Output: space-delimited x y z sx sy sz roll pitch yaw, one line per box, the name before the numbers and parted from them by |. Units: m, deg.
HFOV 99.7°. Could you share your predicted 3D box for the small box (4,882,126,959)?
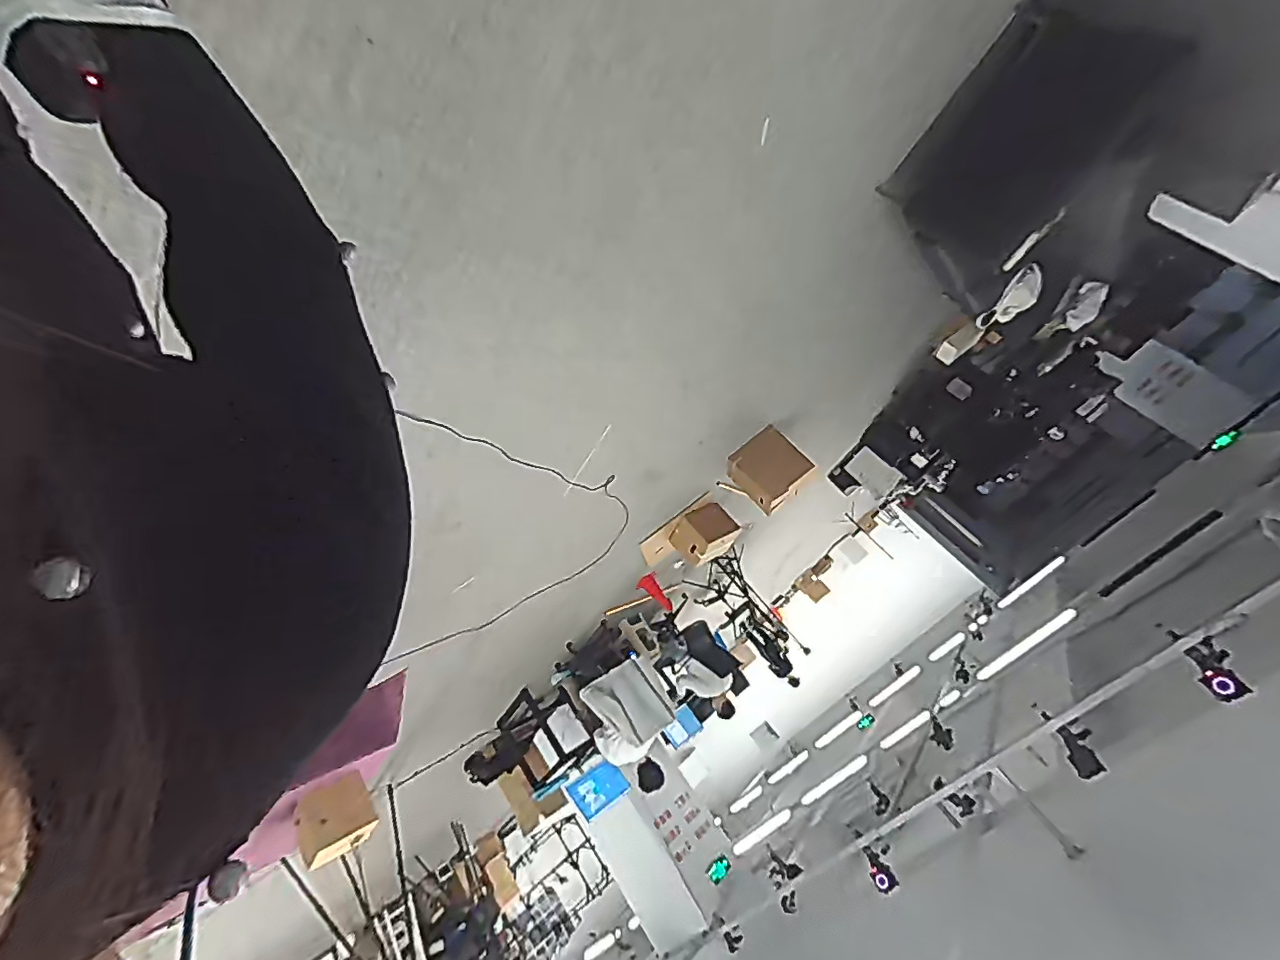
small box | -1.307 1.068 1.228 0.168 0.176 0.179 -5 138 -54
